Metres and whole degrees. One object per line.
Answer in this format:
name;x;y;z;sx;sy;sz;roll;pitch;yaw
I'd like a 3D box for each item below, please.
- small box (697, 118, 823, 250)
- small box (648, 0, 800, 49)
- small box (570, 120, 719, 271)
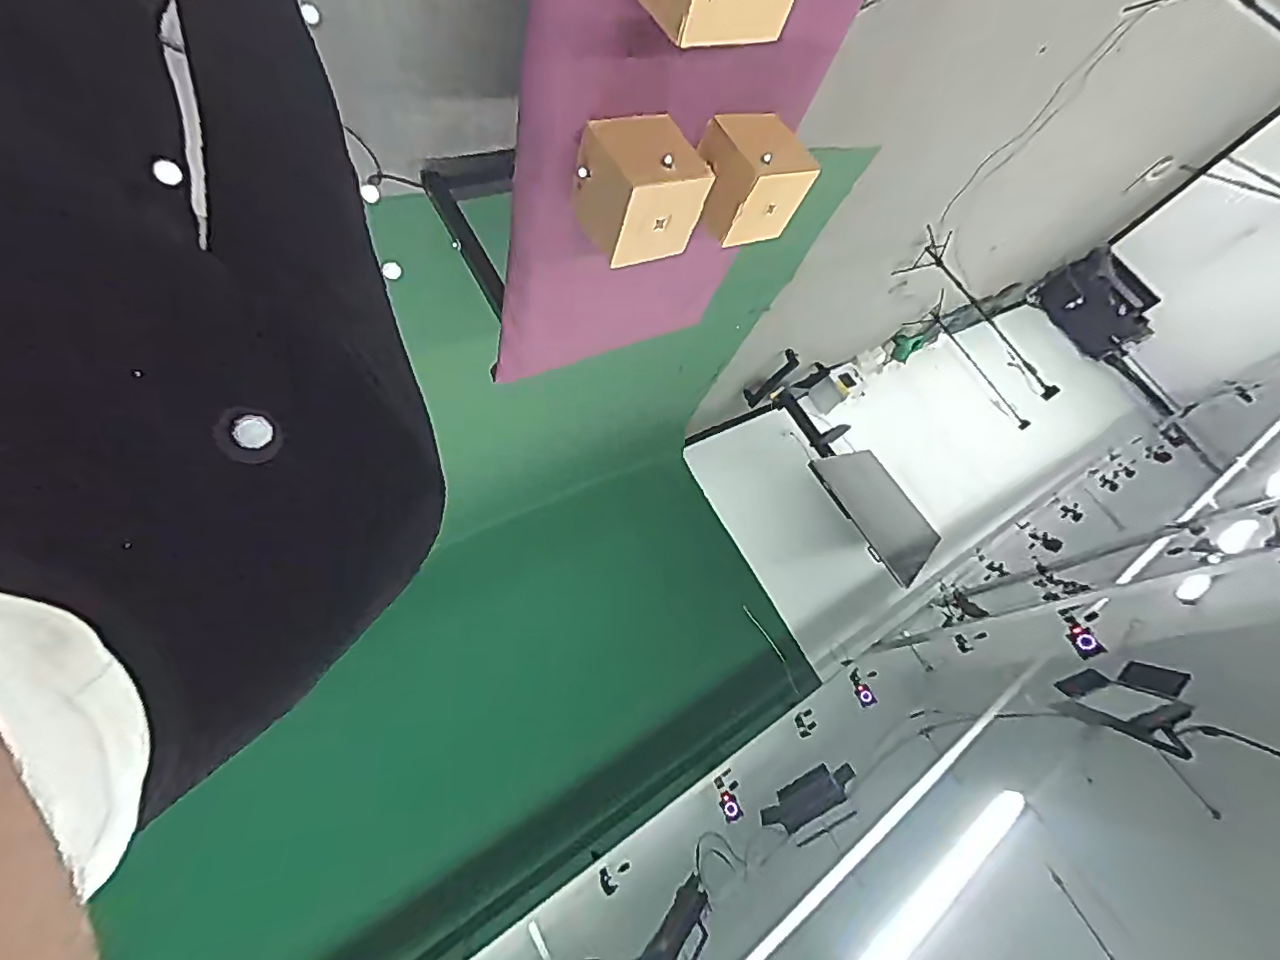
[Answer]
small box;0.223;-0.600;1.093;0.179;0.176;0.168;-22;163;-27
small box;0.100;-0.659;0.646;0.179;0.176;0.168;-26;165;-25
small box;0.001;-0.507;0.960;0.179;0.176;0.168;-24;163;-27
